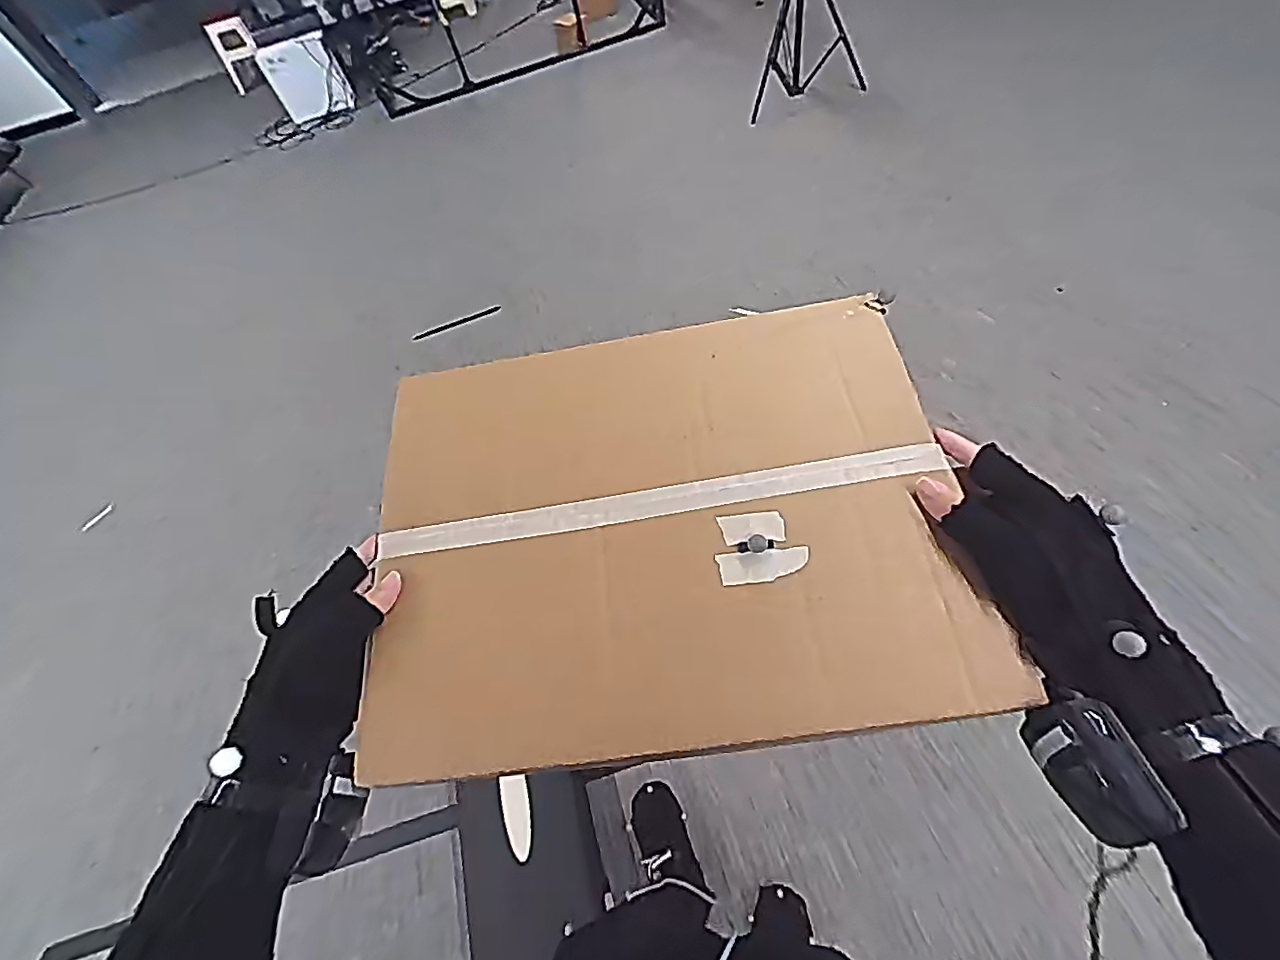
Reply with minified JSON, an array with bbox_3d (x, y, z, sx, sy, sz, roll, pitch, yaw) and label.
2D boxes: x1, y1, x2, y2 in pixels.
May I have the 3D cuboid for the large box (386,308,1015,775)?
[{"bbox_3d":[0.031,0.087,0.533,0.408,0.320,0.320,-9,63,4],"label":"large box"}]
